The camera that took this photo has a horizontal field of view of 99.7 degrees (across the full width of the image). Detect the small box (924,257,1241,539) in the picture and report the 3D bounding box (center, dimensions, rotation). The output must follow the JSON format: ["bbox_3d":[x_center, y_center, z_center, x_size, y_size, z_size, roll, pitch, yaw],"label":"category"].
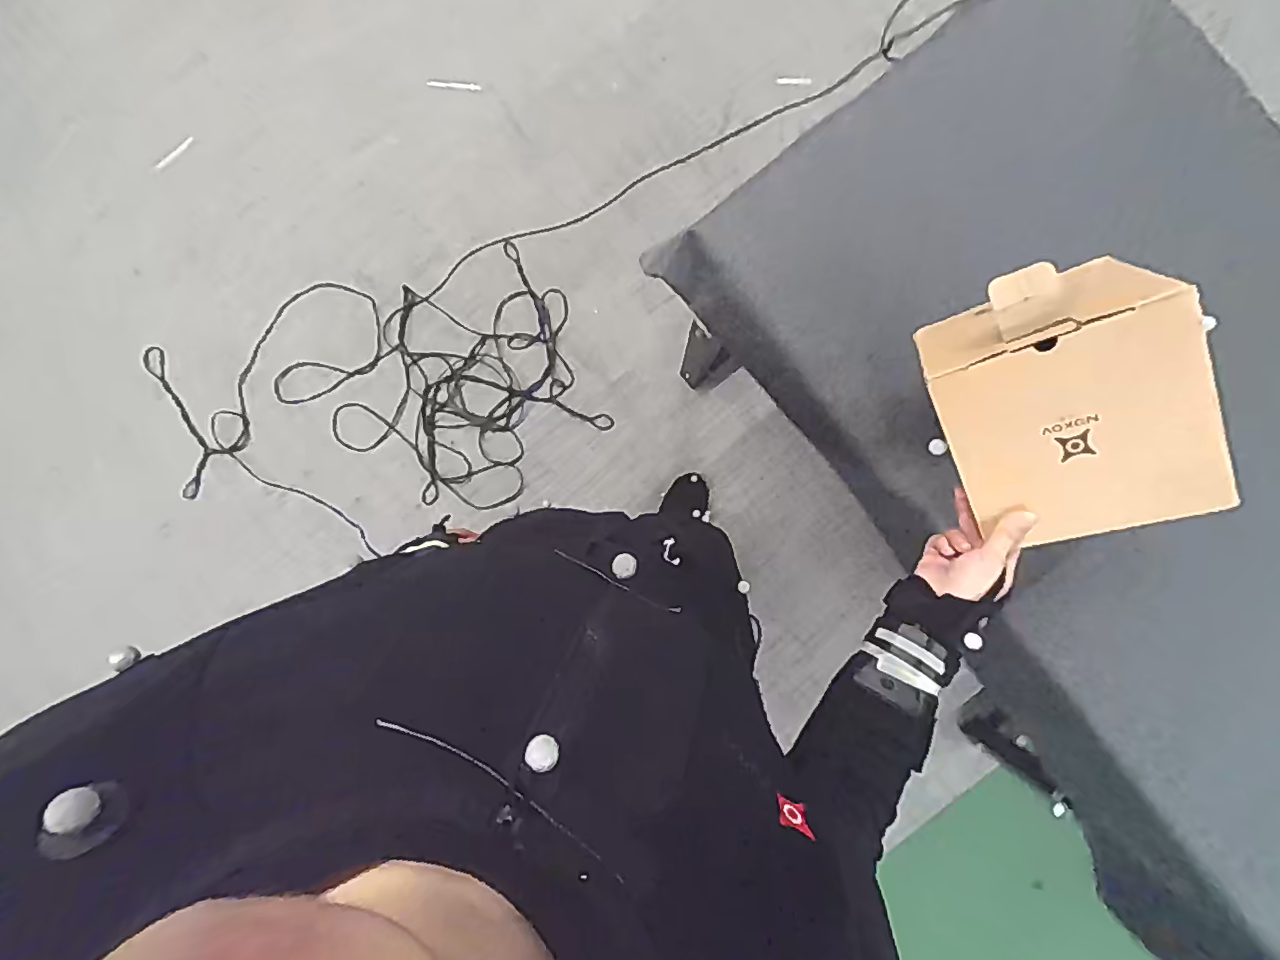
[{"bbox_3d":[0.374,-0.077,0.488,0.168,0.176,0.179,-20,107,30],"label":"small box"}]
